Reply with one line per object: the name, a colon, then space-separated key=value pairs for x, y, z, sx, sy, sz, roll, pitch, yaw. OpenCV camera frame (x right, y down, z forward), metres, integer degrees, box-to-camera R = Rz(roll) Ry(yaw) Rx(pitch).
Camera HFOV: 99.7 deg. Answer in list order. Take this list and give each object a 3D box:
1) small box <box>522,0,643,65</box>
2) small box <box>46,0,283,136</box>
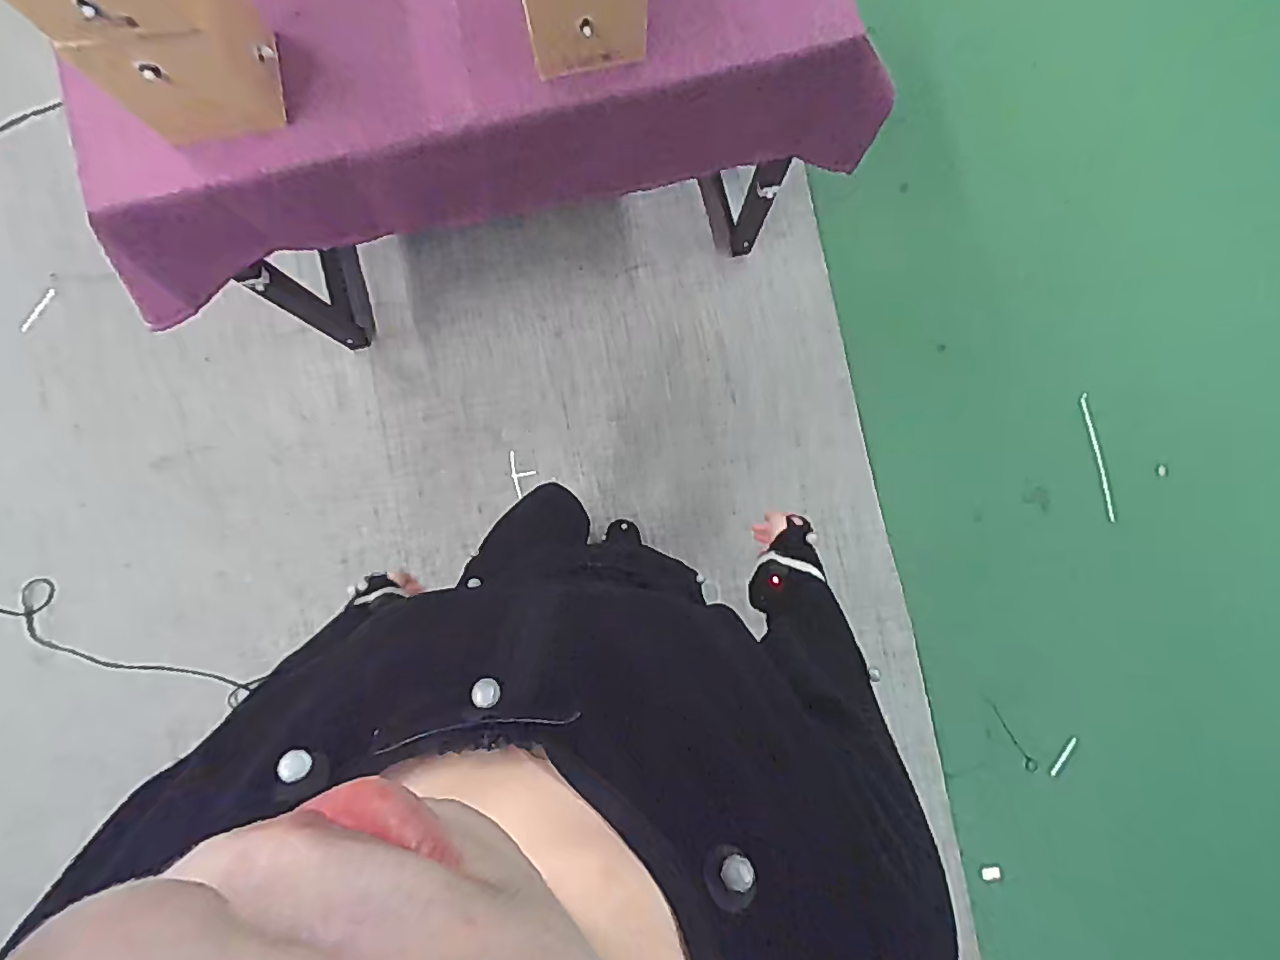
small box: x=-0.089 y=-0.717 z=0.746 sx=0.168 sy=0.176 sz=0.179 roll=-13 pitch=87 yaw=-3
small box: x=-0.623 y=-0.597 z=0.723 sx=0.179 sy=0.176 sz=0.168 roll=-10 pitch=87 yaw=-3
